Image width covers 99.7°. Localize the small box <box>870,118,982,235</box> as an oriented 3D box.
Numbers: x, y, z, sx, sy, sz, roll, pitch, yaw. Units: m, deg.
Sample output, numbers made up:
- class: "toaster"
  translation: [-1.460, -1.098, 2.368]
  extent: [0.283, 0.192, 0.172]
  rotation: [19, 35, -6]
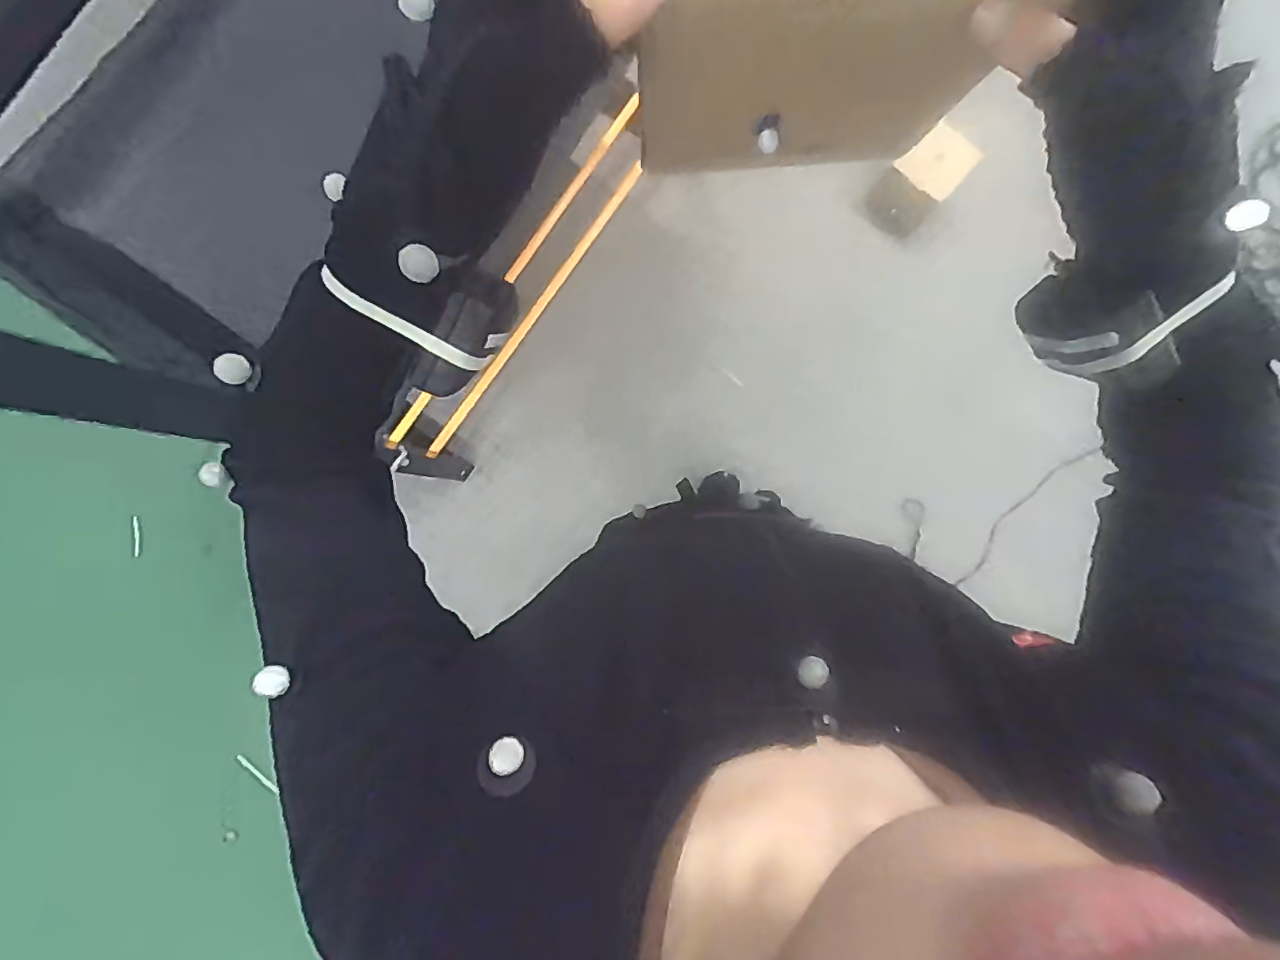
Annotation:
- class: "small box"
  translation: [0.756, -0.806, 1.454]
  extent: [0.168, 0.176, 0.179]
  rotation: [41, 89, 4]
